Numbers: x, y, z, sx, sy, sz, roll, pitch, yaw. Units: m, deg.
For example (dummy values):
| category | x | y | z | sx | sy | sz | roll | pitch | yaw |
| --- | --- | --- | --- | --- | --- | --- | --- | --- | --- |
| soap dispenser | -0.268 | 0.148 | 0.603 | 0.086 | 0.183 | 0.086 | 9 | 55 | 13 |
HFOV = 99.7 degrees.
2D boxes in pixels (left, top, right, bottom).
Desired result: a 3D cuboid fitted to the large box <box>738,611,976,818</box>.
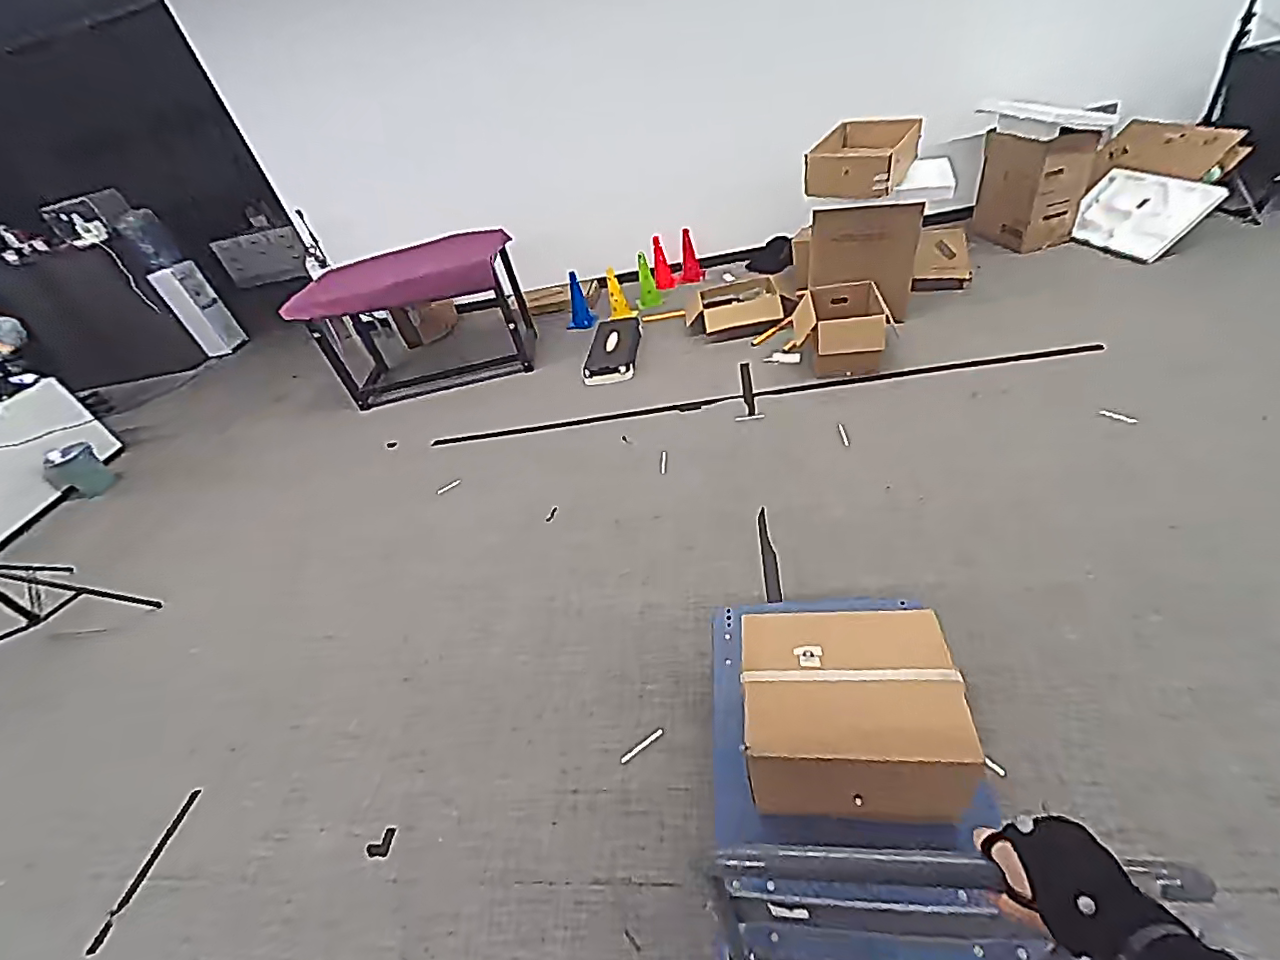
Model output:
| category | x | y | z | sx | sy | sz | roll | pitch | yaw |
| --- | --- | --- | --- | --- | --- | --- | --- | --- | --- |
| large box | 0.439 | 0.514 | 1.180 | 0.408 | 0.320 | 0.320 | -6 | 39 | 13 |
